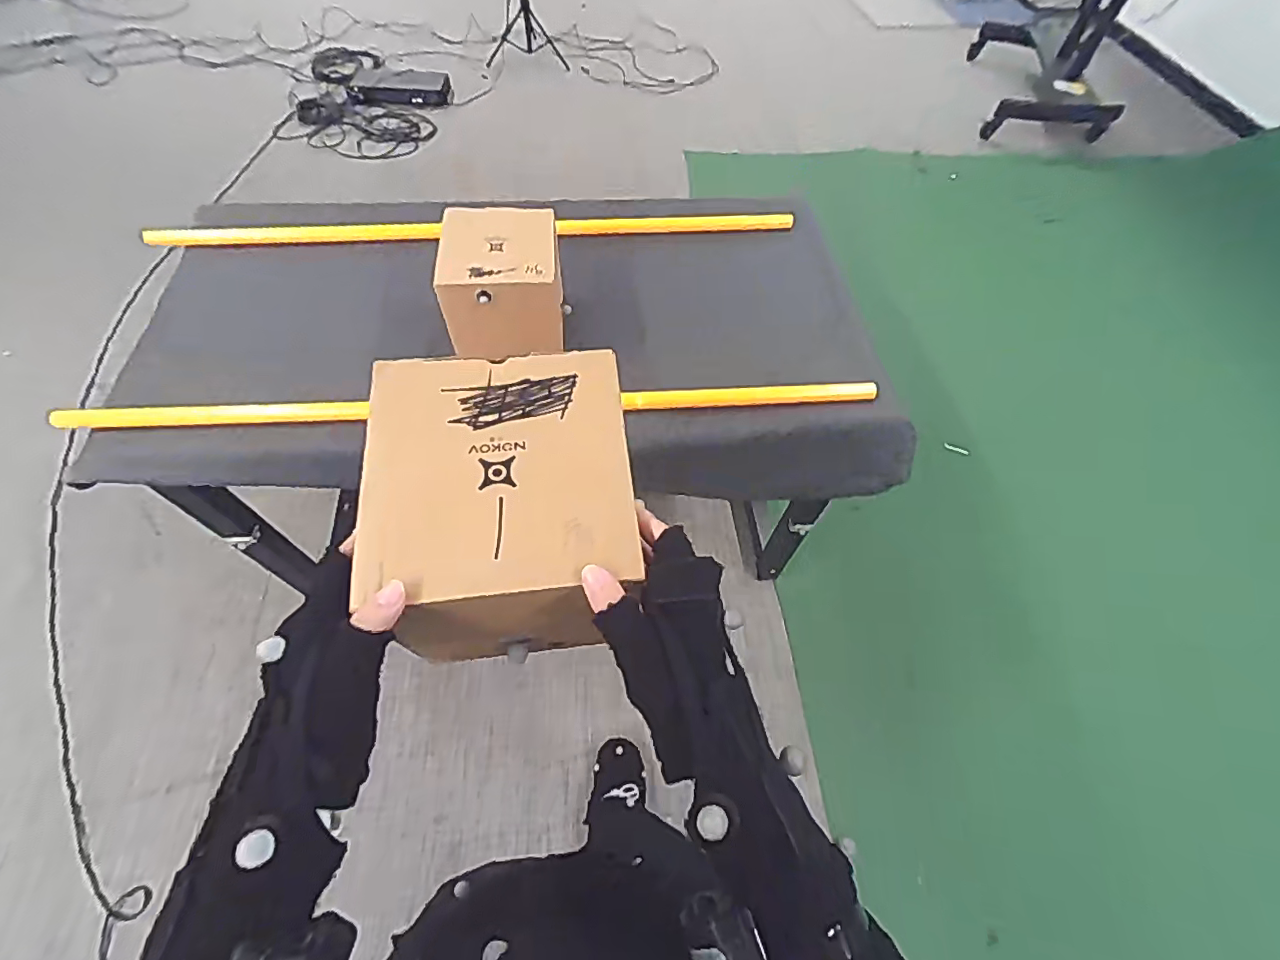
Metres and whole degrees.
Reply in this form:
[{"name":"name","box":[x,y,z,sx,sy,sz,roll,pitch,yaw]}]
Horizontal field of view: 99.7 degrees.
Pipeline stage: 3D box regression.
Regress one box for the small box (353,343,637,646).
[{"name":"small box","box":[-0.098,0.017,0.422,0.168,0.176,0.179,-5,63,-7]}]

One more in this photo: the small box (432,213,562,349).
[{"name":"small box","box":[-0.216,-0.298,0.859,0.168,0.176,0.179,-3,58,-4]}]
